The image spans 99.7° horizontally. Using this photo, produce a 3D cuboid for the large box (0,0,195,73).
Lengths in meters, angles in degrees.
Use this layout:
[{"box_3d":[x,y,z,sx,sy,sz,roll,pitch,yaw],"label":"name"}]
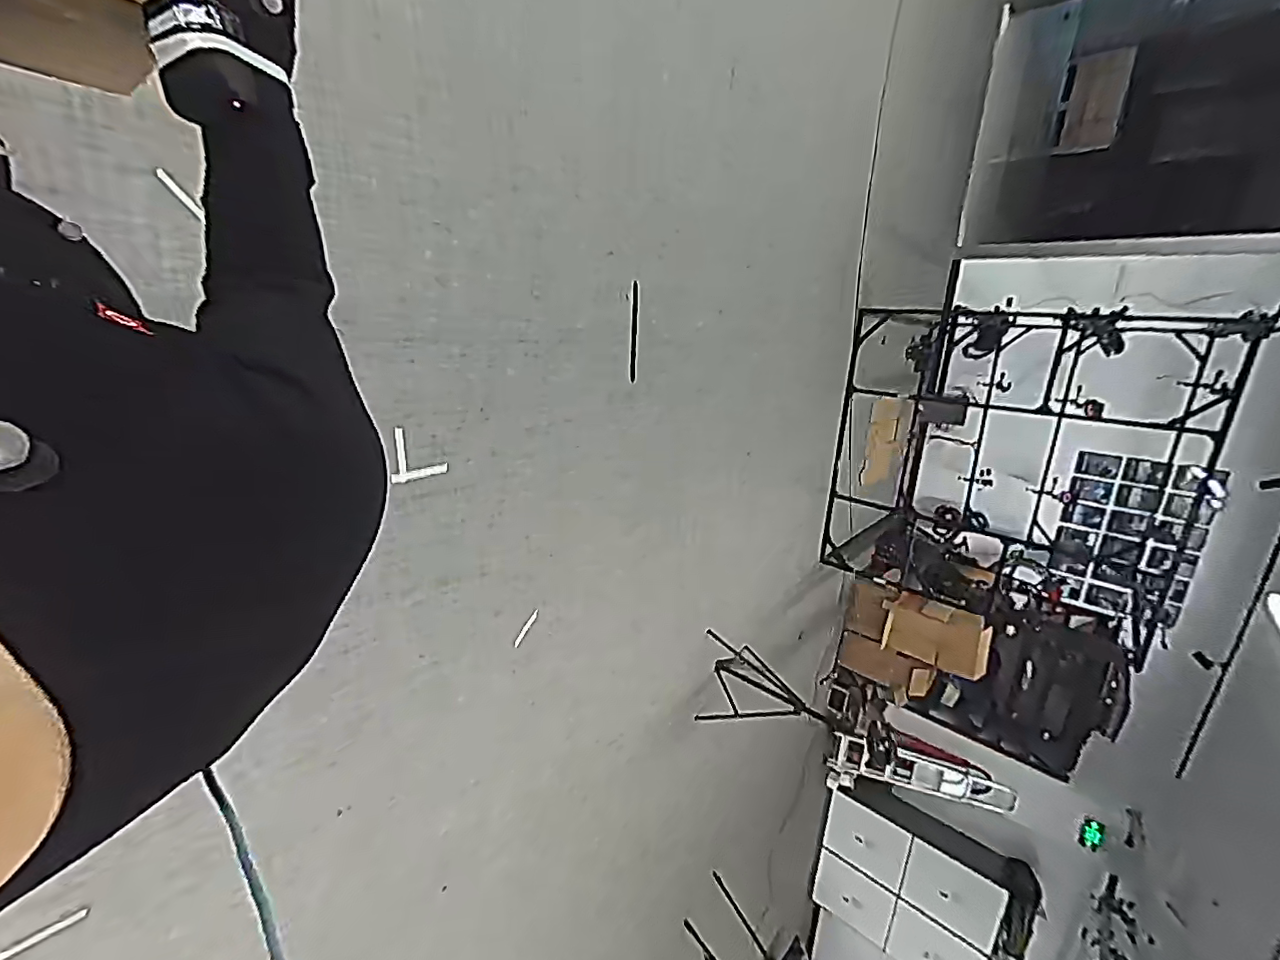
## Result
[{"box_3d":[-0.552,-0.493,0.291,0.408,0.320,0.320,-16,119,-48],"label":"large box"}]
